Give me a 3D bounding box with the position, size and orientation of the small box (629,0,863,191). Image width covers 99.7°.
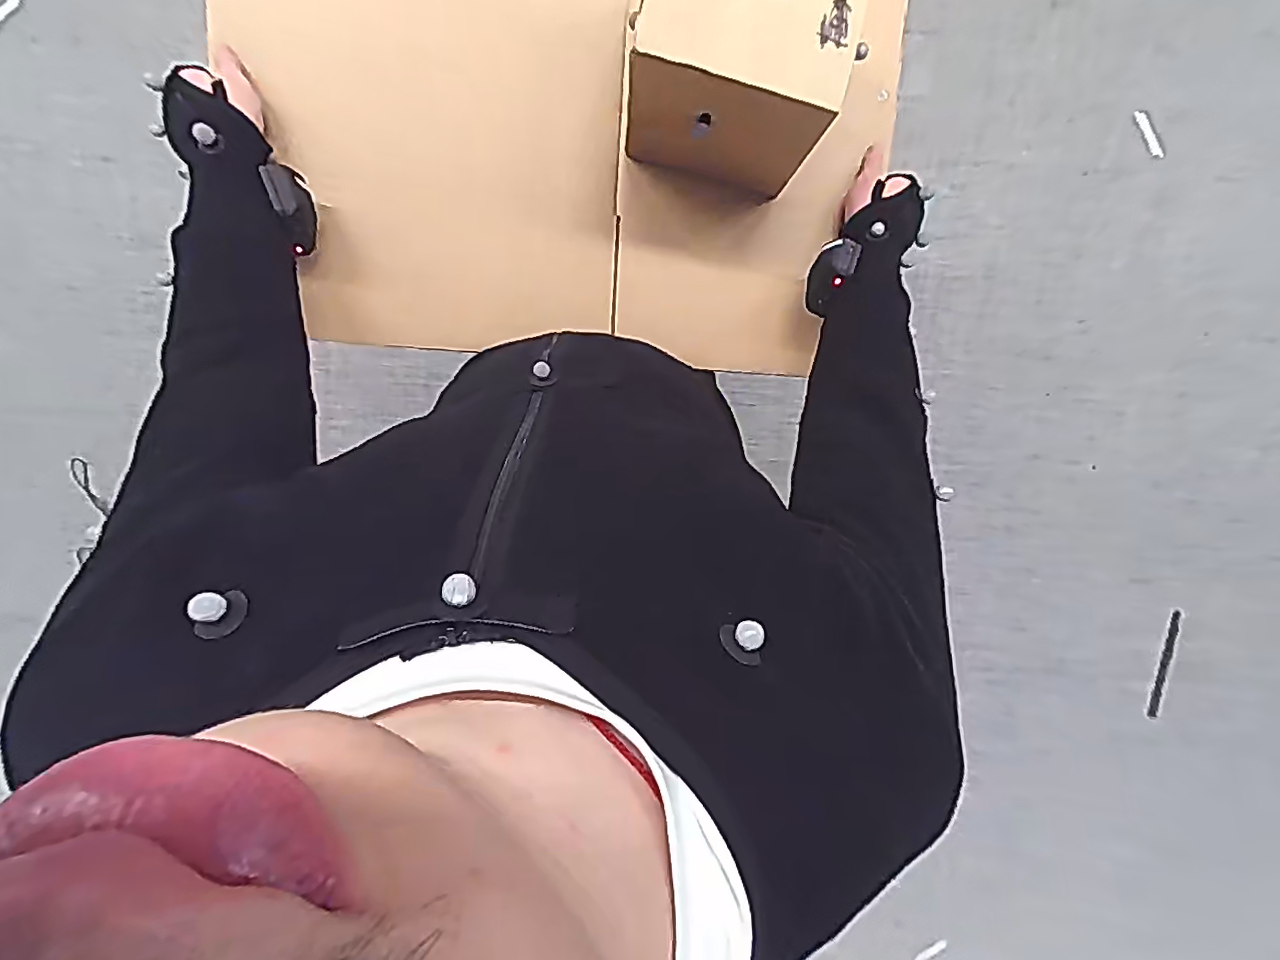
[{"bbox_3d":[0.091,-0.404,0.510,0.179,0.176,0.168,13,96,-4],"label":"small box"}]
